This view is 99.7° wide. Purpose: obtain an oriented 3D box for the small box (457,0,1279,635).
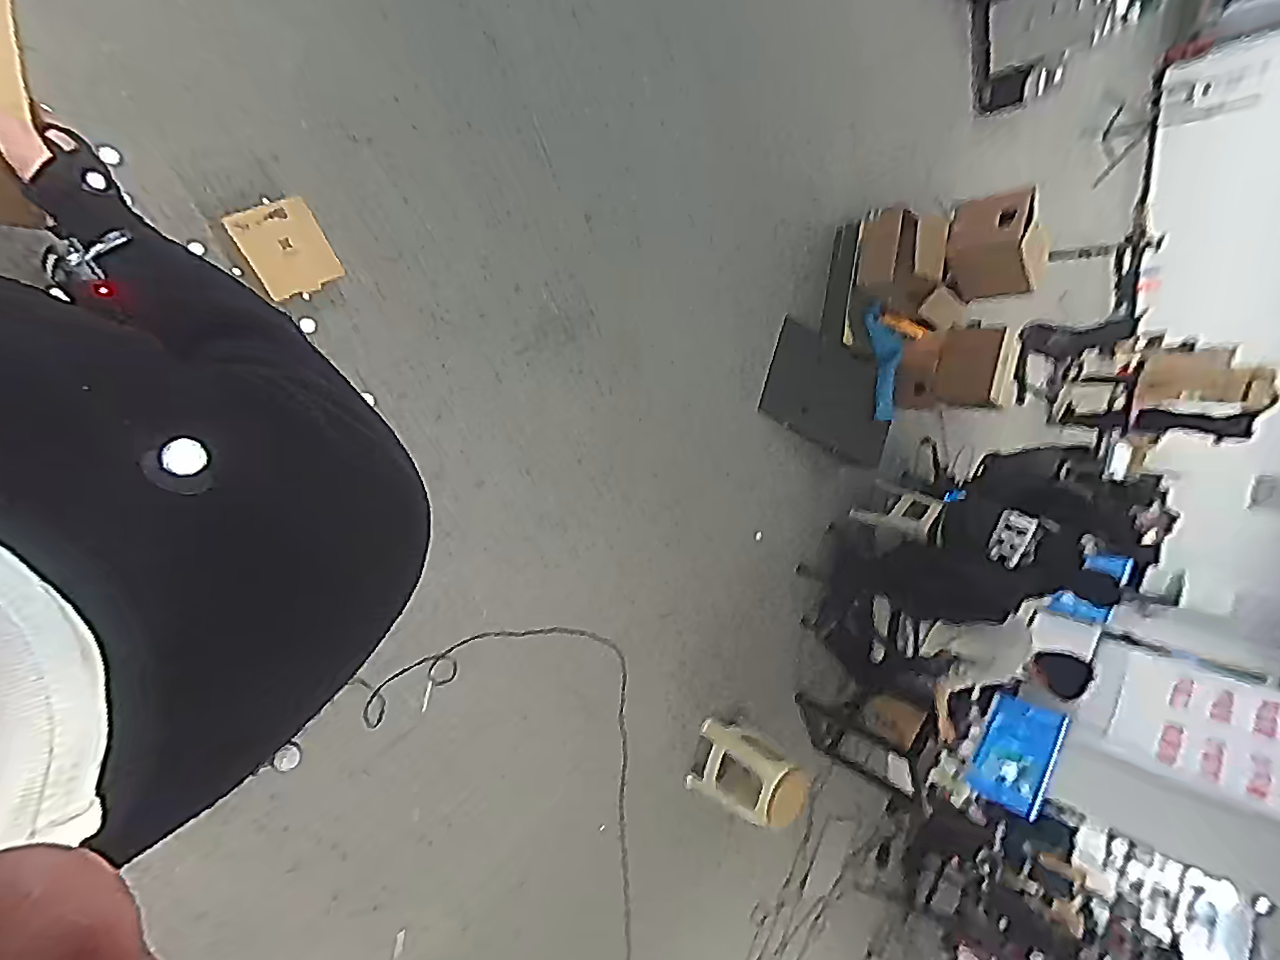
[{"bbox_3d":[0.076,-0.064,0.153,0.179,0.176,0.168,28,58,-20],"label":"small box"}]
